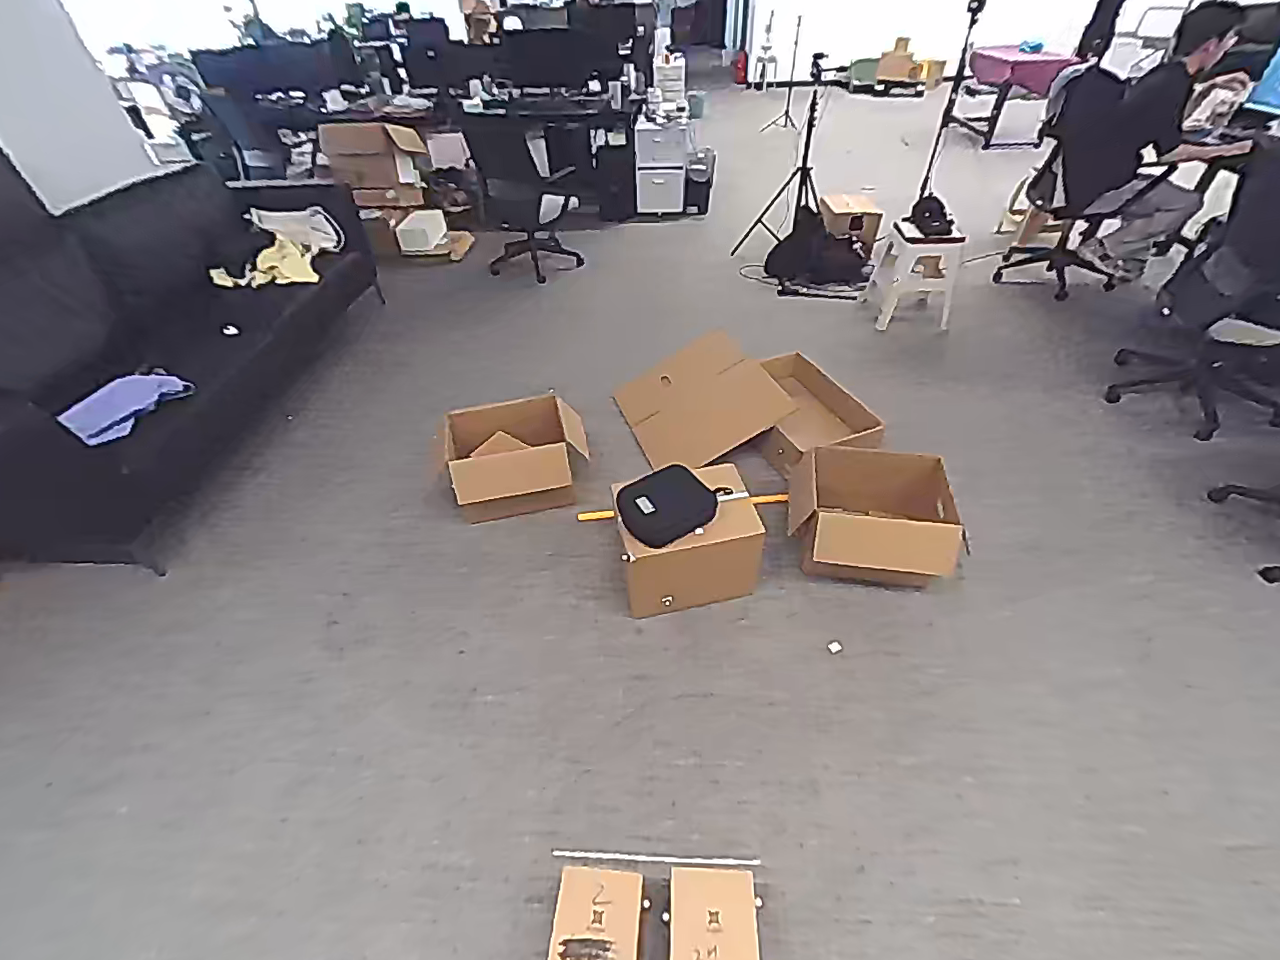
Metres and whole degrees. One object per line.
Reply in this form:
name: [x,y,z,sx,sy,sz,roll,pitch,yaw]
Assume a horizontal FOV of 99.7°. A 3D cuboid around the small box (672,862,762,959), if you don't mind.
small box: [0.149,0.895,1.082,0.168,0.176,0.179,0,44,5]
